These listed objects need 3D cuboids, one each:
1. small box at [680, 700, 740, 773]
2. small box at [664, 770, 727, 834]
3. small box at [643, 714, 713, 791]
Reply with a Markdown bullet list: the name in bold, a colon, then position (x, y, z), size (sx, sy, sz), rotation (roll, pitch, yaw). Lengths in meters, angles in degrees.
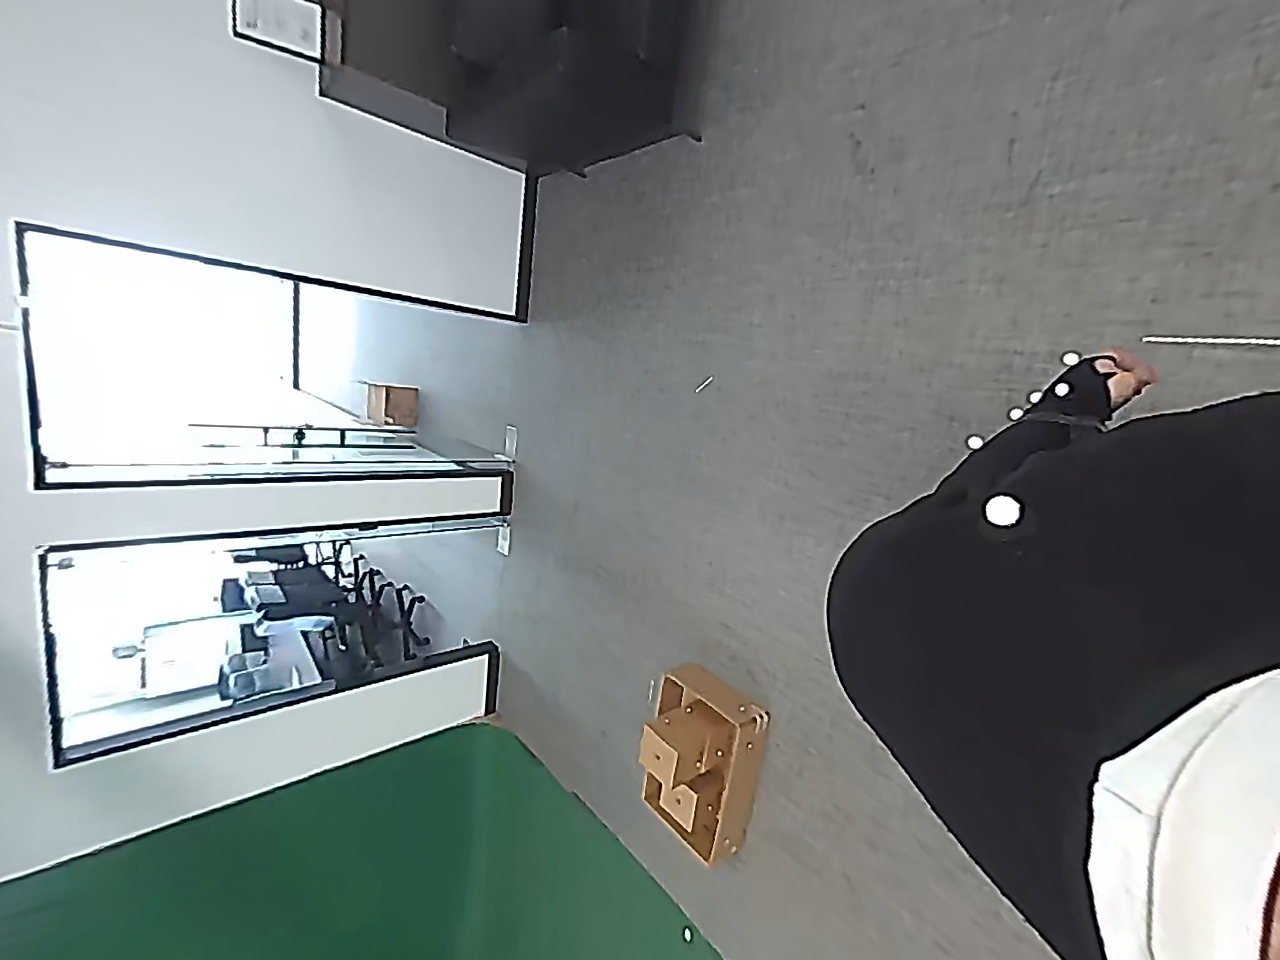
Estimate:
- **small box**: position (0.261, 0.979, 2.084), size (0.179, 0.176, 0.168), rotation (19, 105, 46)
- **small box**: position (0.221, 1.233, 2.132), size (0.179, 0.176, 0.168), rotation (18, 104, 45)
- **small box**: position (0.137, 0.985, 1.977), size (0.179, 0.176, 0.168), rotation (22, 109, 45)
